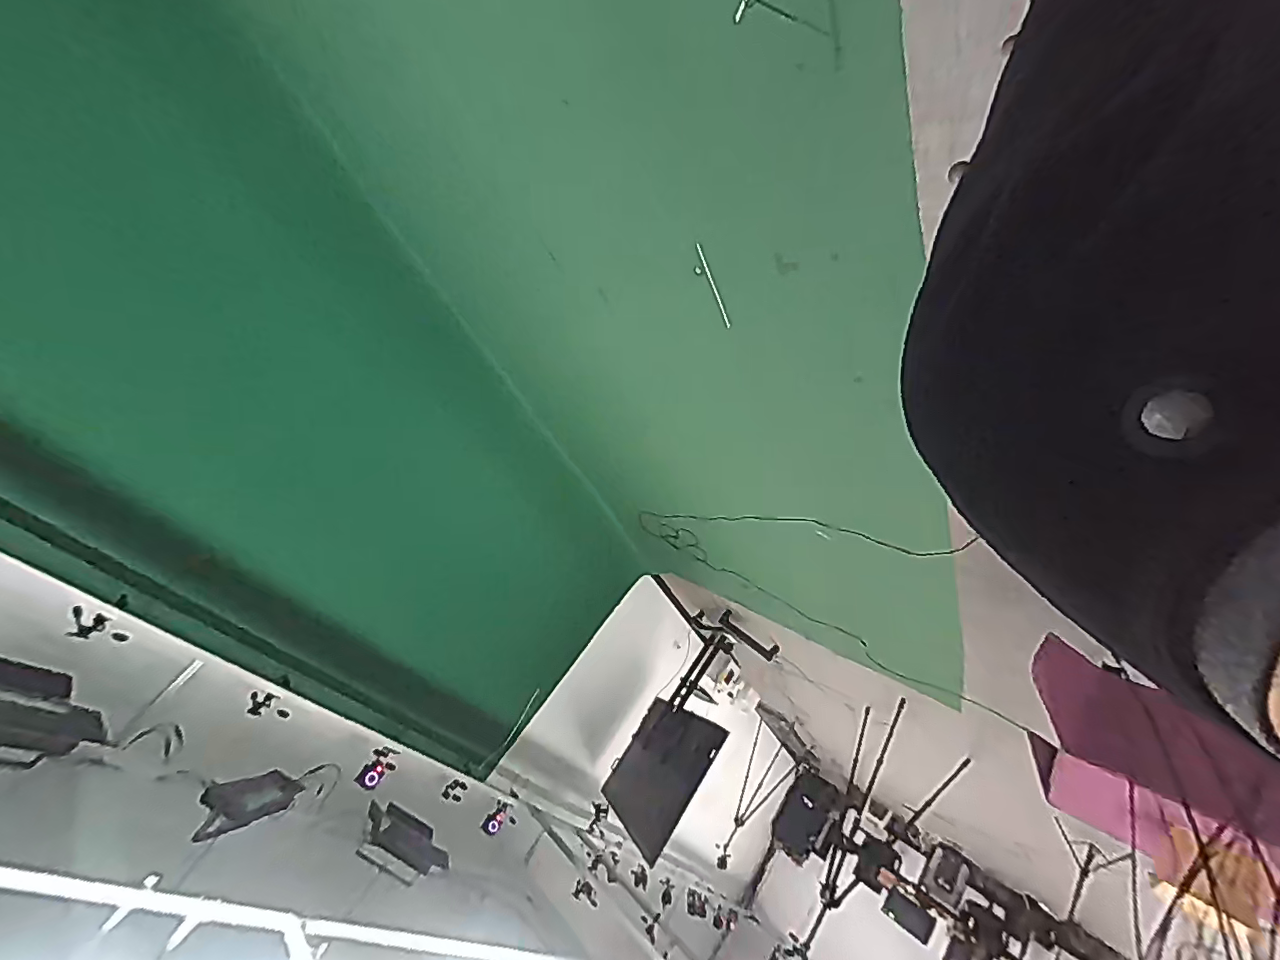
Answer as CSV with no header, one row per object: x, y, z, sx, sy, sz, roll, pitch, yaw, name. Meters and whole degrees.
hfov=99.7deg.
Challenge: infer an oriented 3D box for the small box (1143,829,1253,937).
1.513,1.087,1.467,0.168,0.176,0.179,20,152,41,small box
